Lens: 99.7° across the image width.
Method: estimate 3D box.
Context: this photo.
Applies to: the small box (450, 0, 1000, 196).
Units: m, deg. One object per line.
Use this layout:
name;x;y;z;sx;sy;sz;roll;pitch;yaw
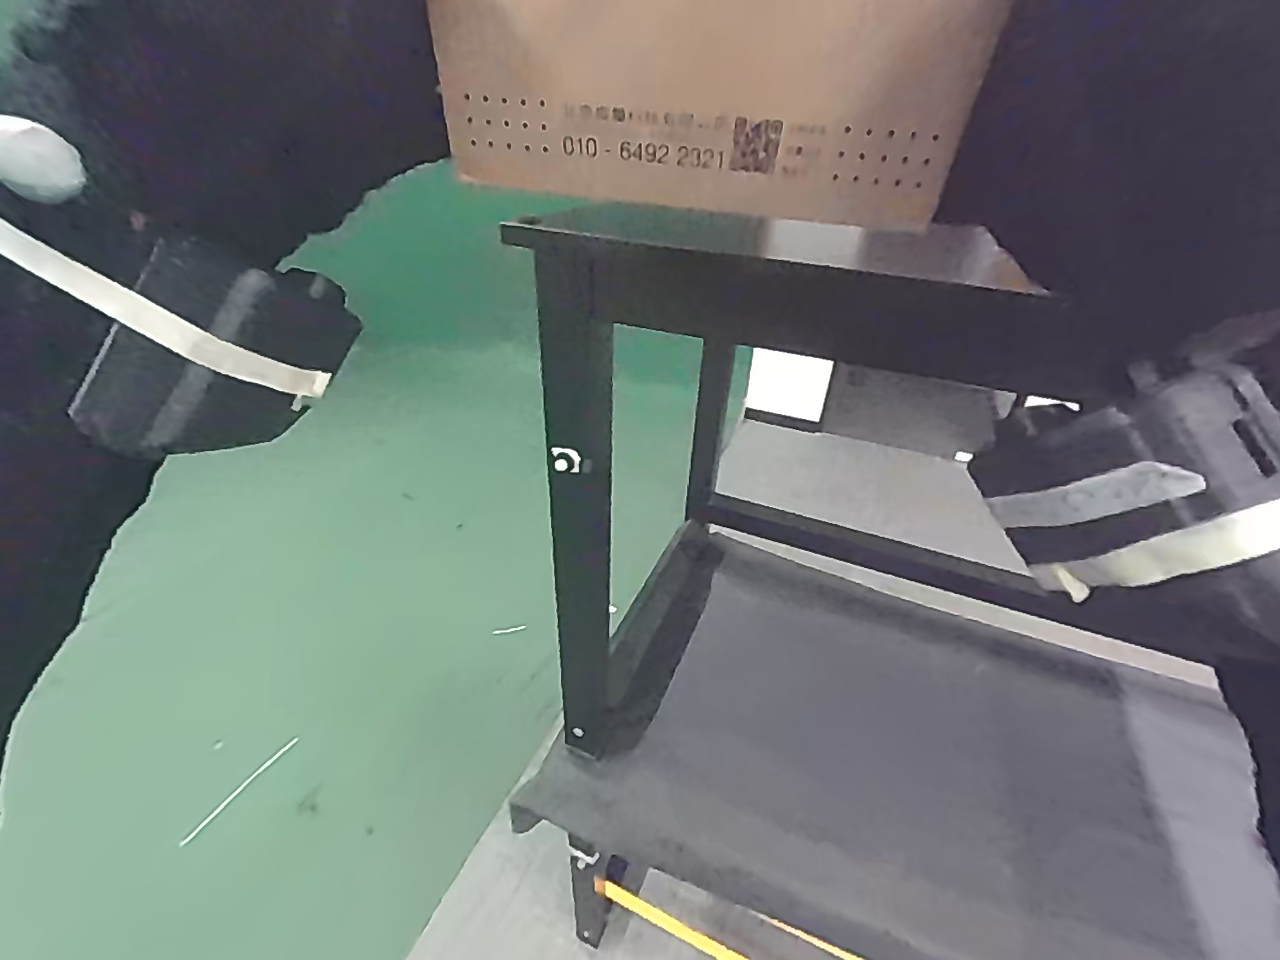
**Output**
small box;0.034;-0.216;0.188;0.168;0.176;0.179;9;43;5
